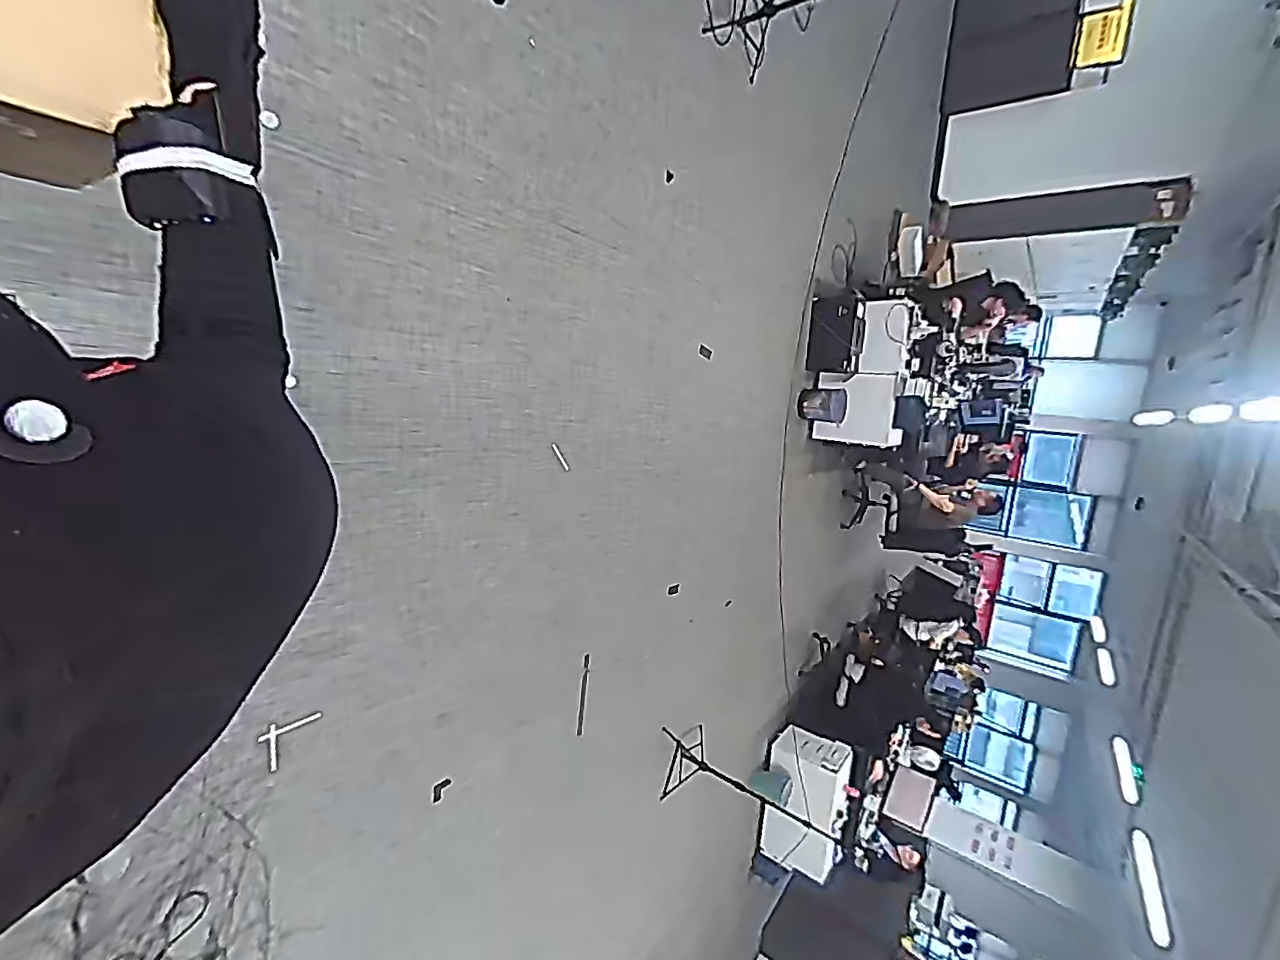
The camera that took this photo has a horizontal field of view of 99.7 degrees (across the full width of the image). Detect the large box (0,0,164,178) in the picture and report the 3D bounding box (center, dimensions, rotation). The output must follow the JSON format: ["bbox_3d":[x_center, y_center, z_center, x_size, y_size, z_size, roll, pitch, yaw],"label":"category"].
[{"bbox_3d":[-0.572,-0.404,0.290,0.408,0.320,0.320,-10,112,-55],"label":"large box"}]
